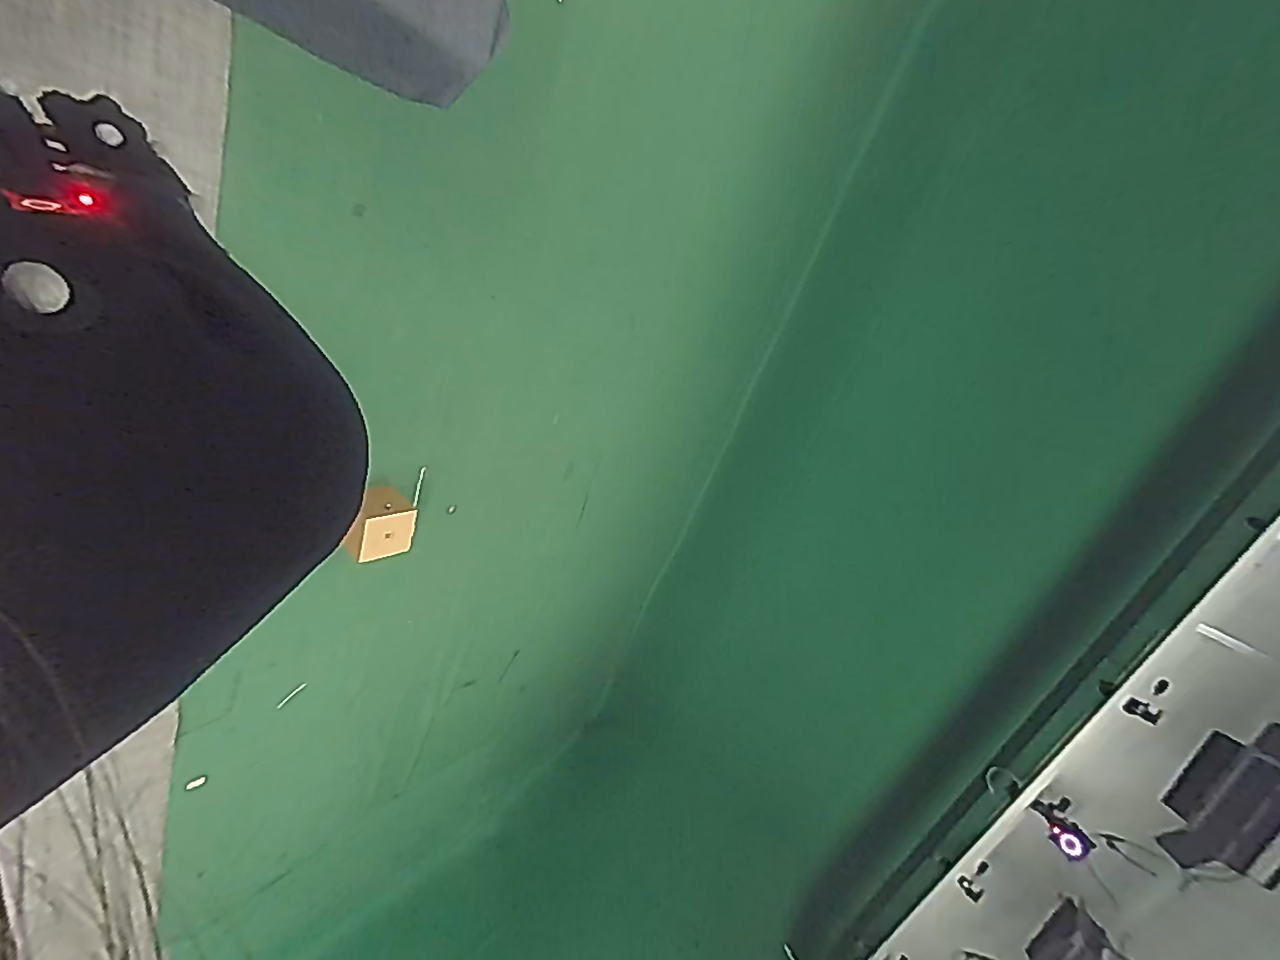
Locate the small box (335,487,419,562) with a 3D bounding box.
[{"bbox_3d":[-0.858,0.137,1.760,0.179,0.176,0.168,-13,129,-53],"label":"small box"}]
